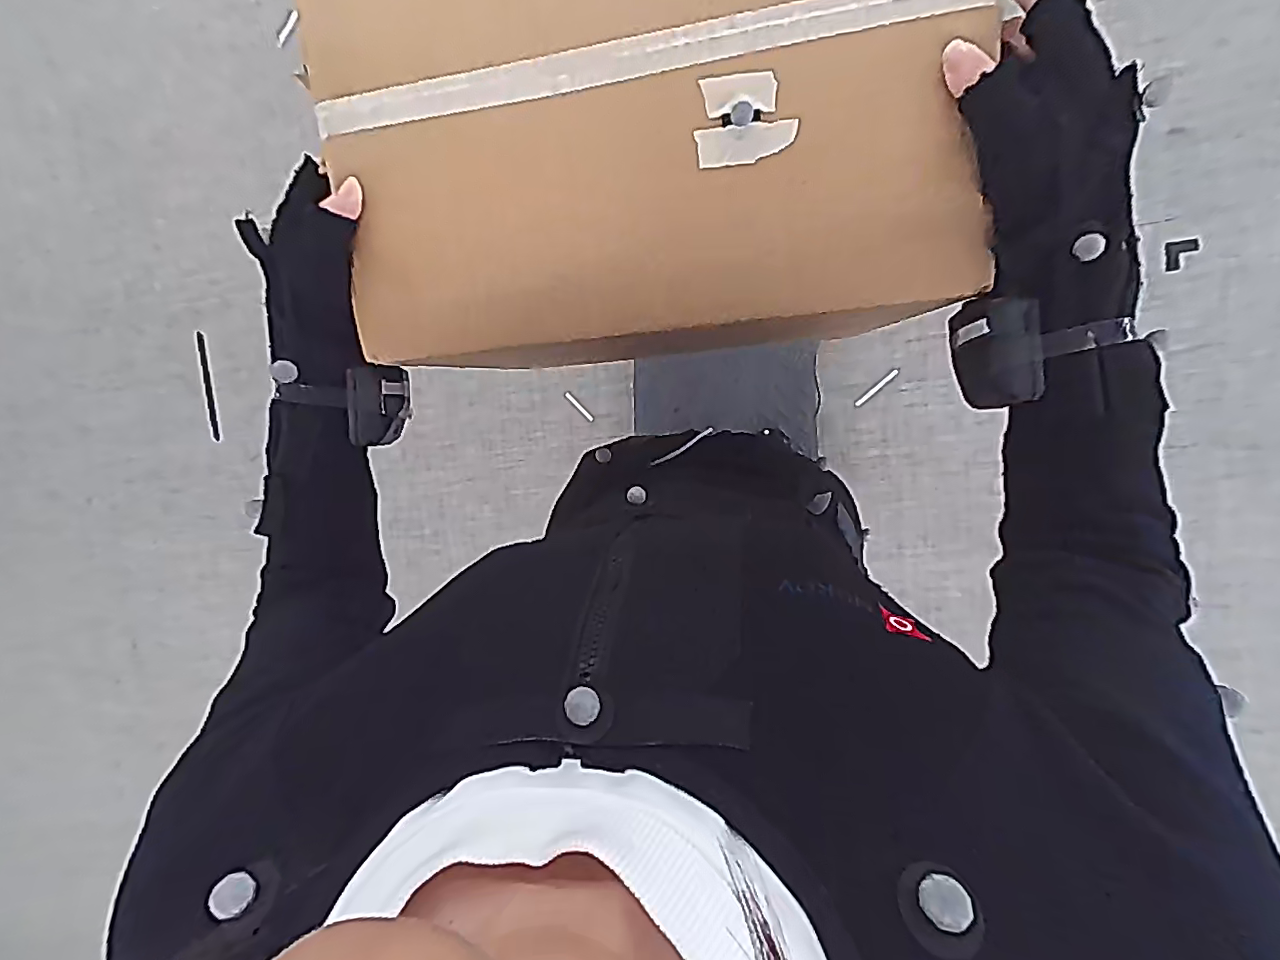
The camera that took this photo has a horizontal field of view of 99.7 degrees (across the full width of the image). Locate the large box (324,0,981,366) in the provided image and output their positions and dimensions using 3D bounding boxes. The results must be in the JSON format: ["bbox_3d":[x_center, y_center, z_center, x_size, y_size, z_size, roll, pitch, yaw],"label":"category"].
[{"bbox_3d":[0.015,-0.283,0.480,0.408,0.320,0.320,-4,101,9],"label":"large box"}]
